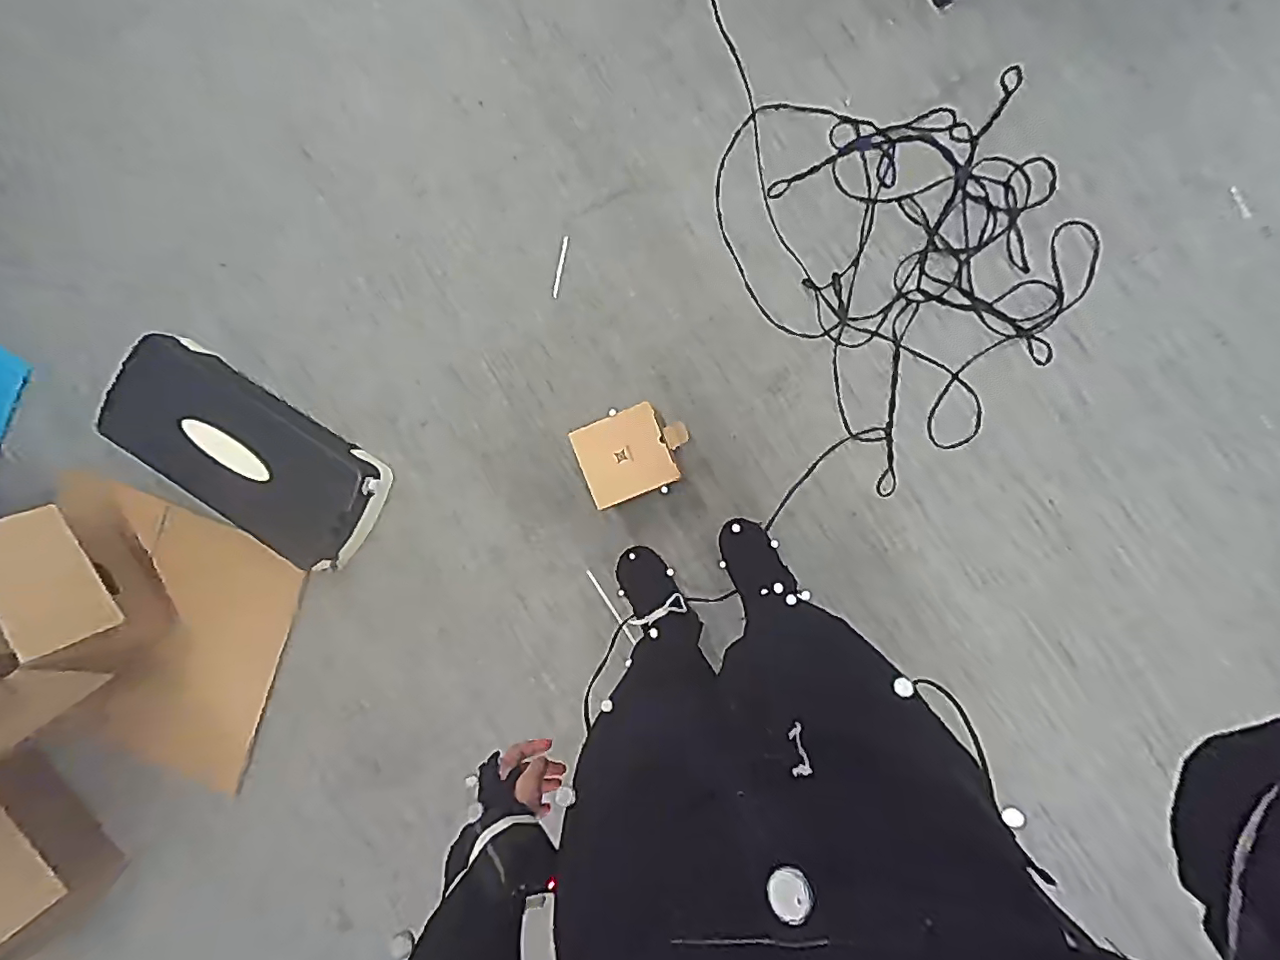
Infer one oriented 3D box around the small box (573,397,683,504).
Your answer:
[{"bbox_3d":[-0.017,-0.056,1.131,0.179,0.176,0.168,-22,88,5],"label":"small box"}]
